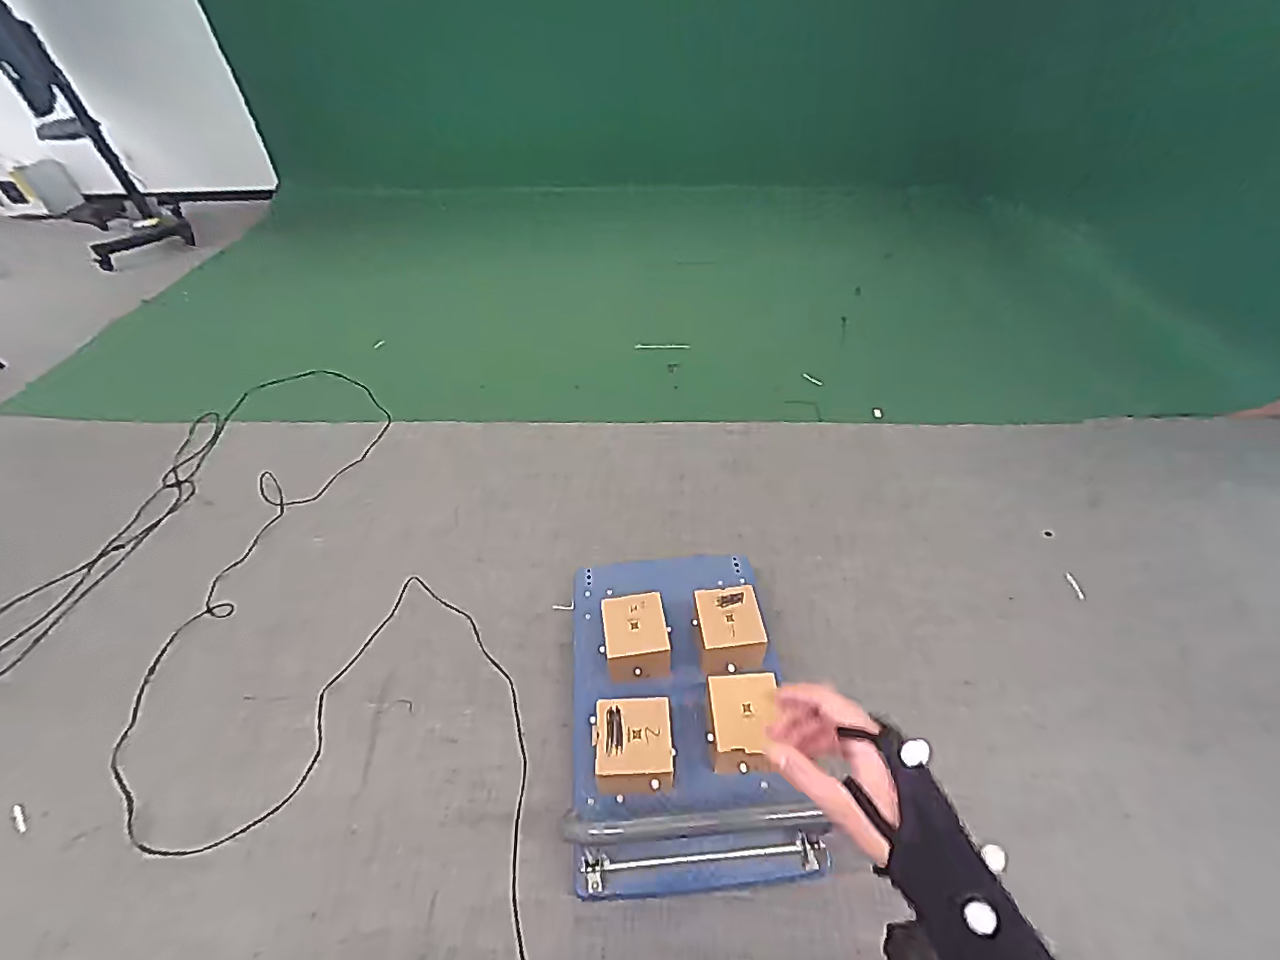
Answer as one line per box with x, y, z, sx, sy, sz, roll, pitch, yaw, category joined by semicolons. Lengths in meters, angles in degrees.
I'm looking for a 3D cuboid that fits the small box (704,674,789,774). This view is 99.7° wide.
0.252;0.599;1.327;0.168;0.176;0.179;-3;45;-1;small box

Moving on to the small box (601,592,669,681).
-0.015;0.436;1.487;0.168;0.176;0.179;-6;46;-5;small box

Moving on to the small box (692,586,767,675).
0.240;0.417;1.497;0.168;0.176;0.179;-6;47;-3;small box
